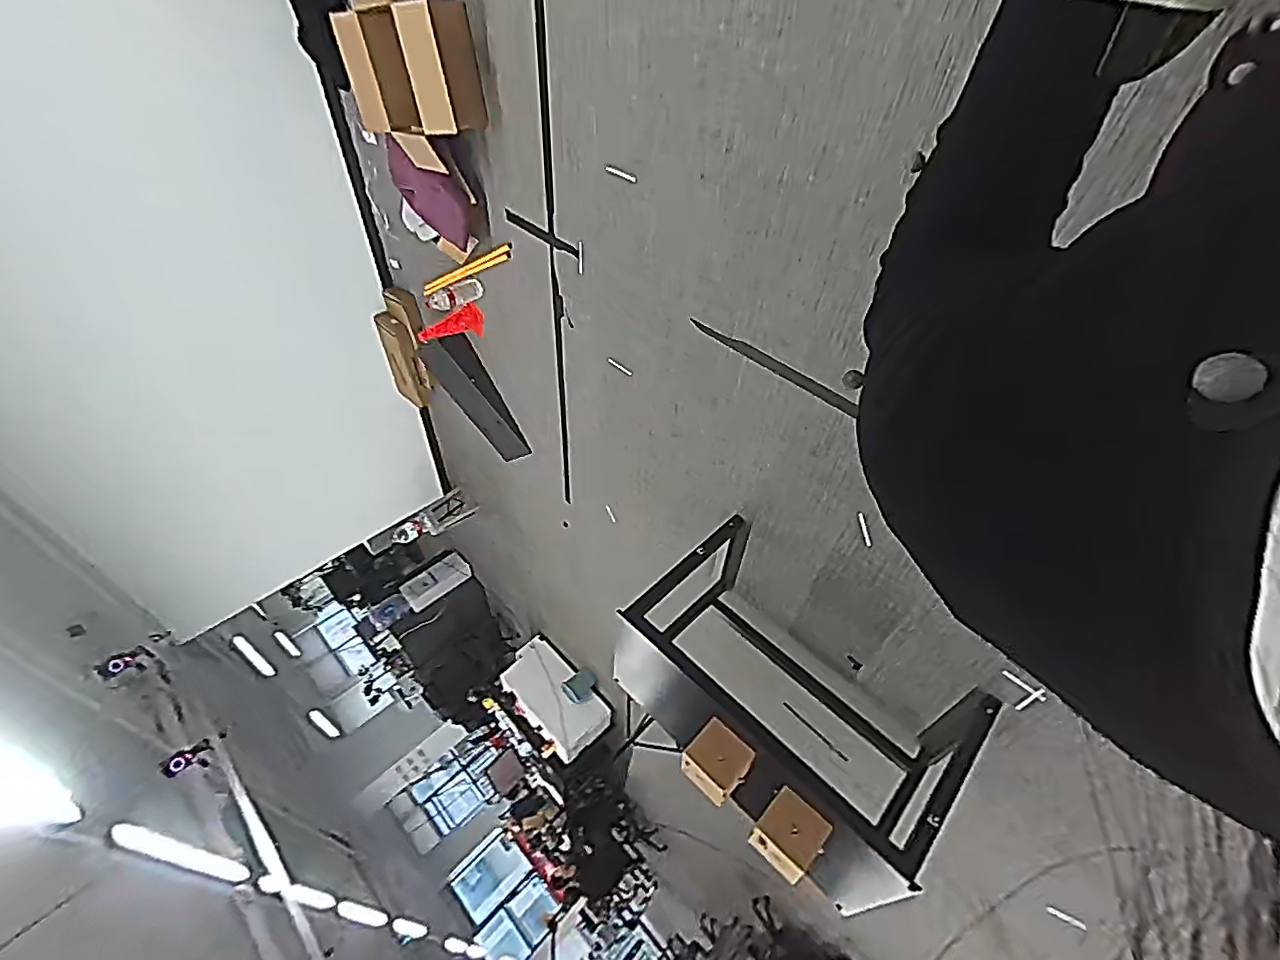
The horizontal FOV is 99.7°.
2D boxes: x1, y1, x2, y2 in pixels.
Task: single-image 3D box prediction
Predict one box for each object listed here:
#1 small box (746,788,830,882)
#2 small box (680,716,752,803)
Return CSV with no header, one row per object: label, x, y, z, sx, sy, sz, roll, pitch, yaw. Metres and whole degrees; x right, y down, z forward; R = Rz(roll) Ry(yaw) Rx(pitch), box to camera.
small box,0.466,1.111,1.709,0.179,0.176,0.168,33,143,30
small box,0.257,0.947,1.840,0.179,0.176,0.168,34,143,30
